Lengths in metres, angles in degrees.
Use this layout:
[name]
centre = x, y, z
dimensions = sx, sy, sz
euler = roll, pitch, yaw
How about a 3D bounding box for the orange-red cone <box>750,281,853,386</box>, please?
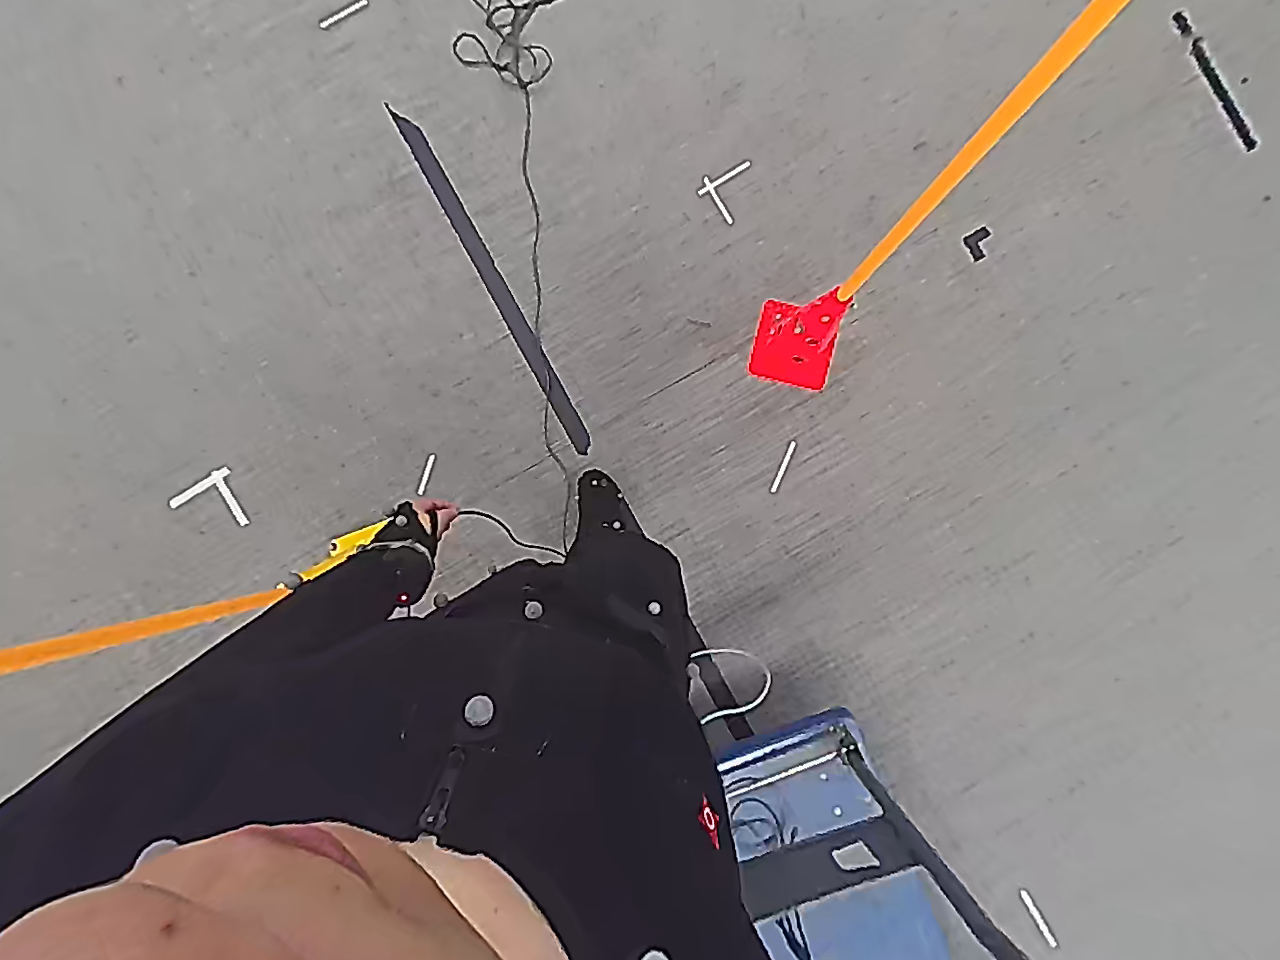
[orange-red cone]
centre = 0.385, -0.348, 1.181
dimensions = 0.198, 0.360, 0.199
euler = 16, 90, 2
